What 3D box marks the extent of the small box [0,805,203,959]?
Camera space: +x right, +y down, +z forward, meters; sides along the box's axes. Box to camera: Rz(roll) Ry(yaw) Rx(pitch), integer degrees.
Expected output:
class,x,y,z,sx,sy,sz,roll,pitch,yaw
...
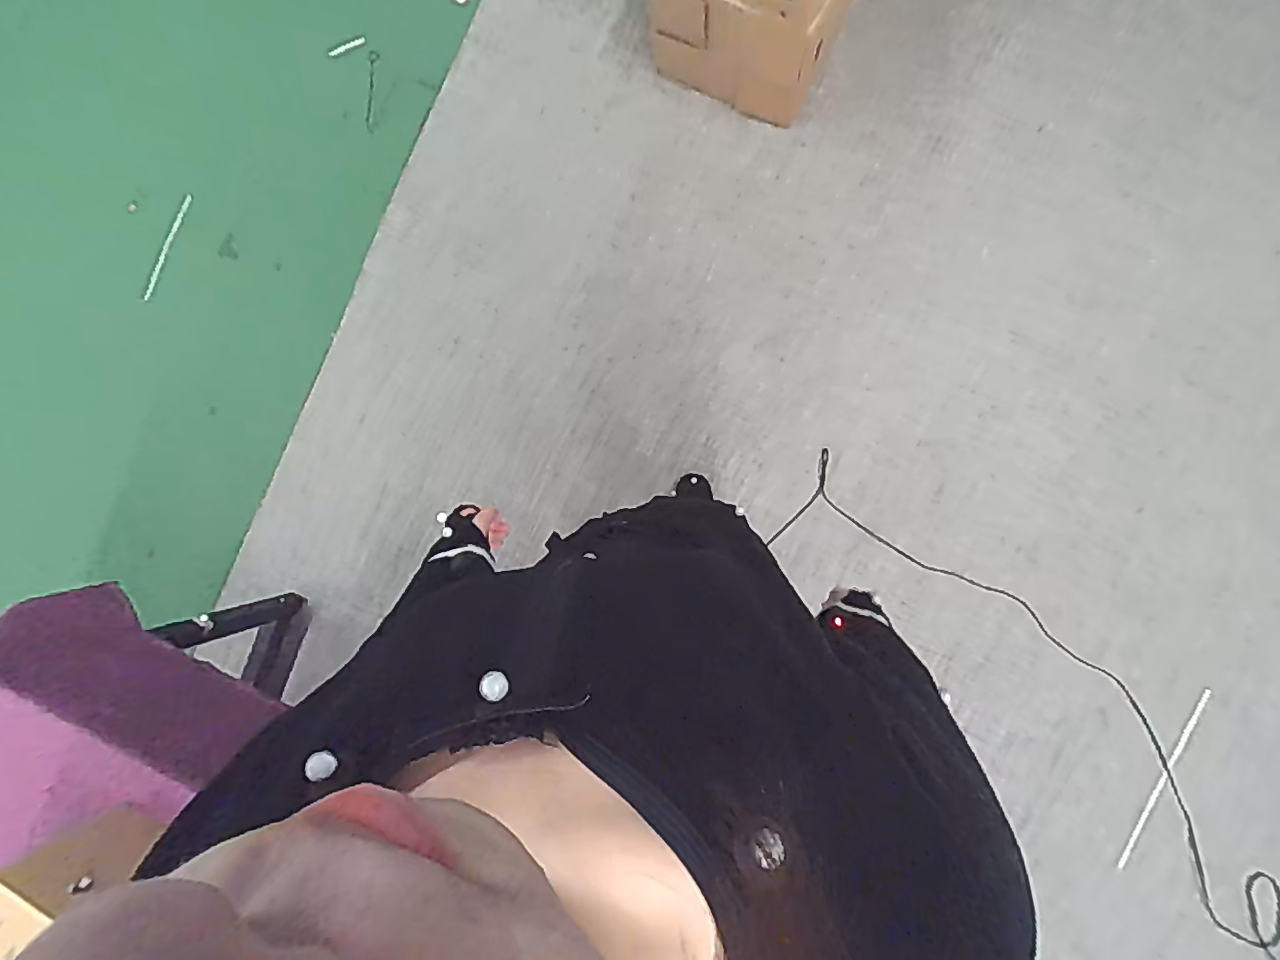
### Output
class,x,y,z,sx,sy,sz,roll,pitch,yaw
small box,-0.802,0.623,0.789,0.179,0.176,0.168,27,93,7

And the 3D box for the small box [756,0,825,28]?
class,x,y,z,sx,sy,sz,roll,pitch,yaw
small box,0.325,-1.071,1.078,0.168,0.176,0.179,33,92,5
